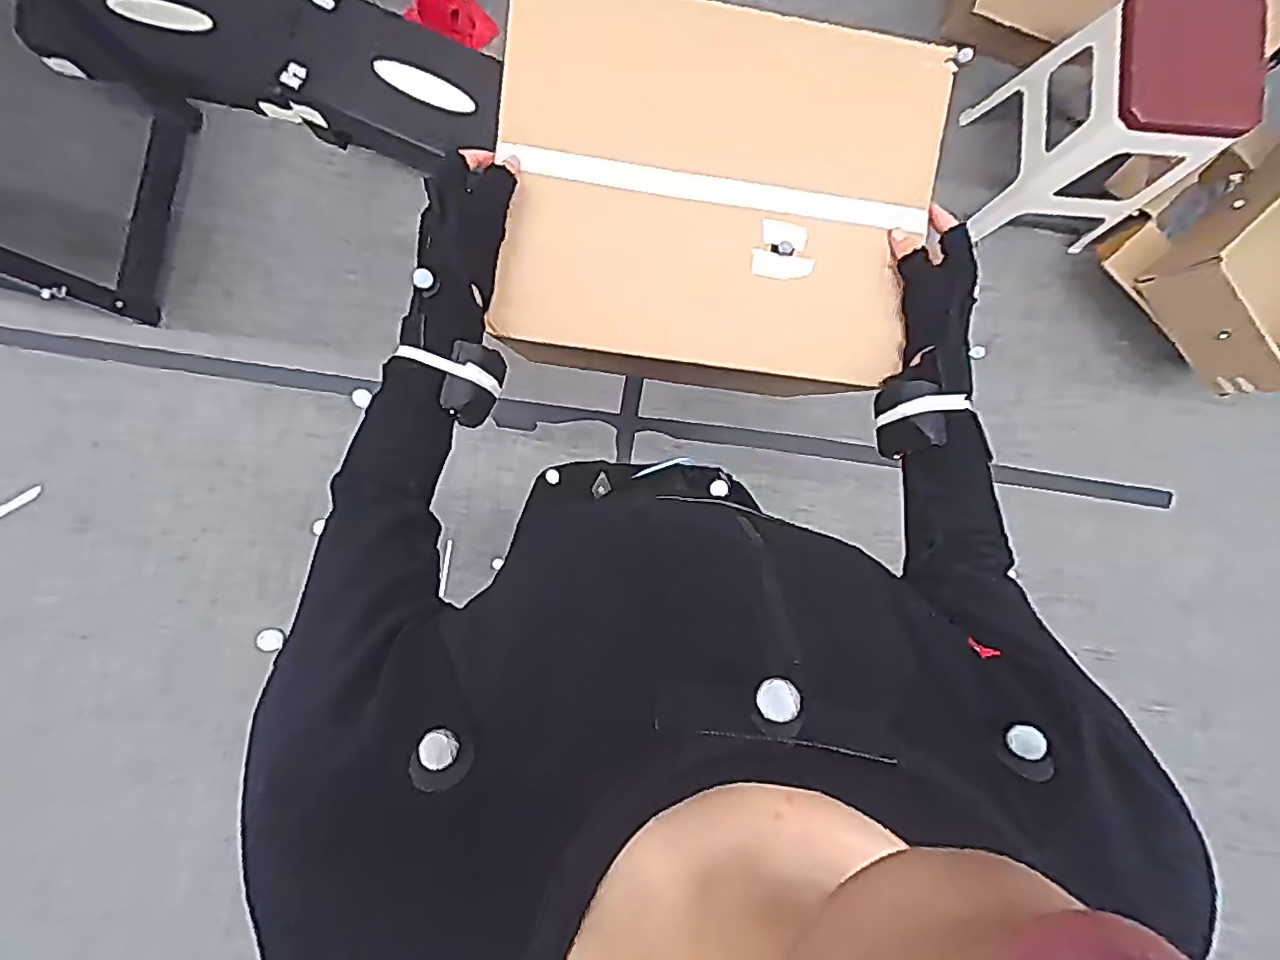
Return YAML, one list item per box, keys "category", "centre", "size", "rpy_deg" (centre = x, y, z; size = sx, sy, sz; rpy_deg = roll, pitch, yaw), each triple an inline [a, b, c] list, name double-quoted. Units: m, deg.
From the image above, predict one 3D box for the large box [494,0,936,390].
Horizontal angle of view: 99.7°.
- category: "large box"
  centre: [0.058, -0.292, 0.663]
  size: [0.408, 0.320, 0.320]
  rpy_deg: [7, 98, -6]
